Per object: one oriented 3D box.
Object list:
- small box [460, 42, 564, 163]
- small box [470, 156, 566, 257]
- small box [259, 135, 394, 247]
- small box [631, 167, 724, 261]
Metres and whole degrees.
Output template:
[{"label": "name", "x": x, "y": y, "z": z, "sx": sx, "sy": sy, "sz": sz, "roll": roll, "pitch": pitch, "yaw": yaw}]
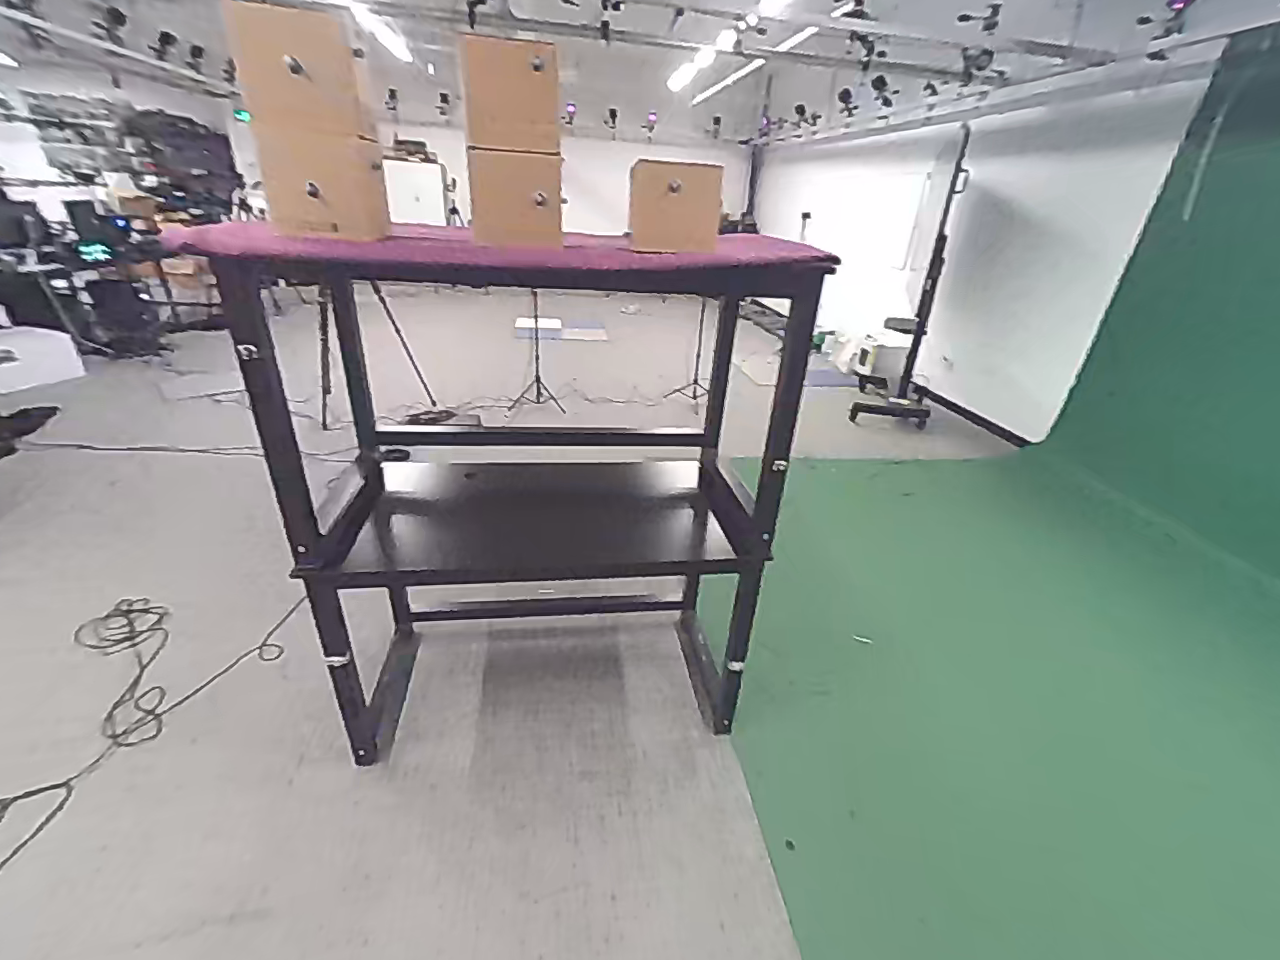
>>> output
[{"label": "small box", "x": -0.239, "y": -0.700, "z": 1.032, "sx": 0.179, "sy": 0.176, "sz": 0.168, "roll": -2, "pitch": 27, "yaw": -12}, {"label": "small box", "x": -0.242, "y": -0.553, "z": 1.104, "sx": 0.179, "sy": 0.176, "sz": 0.168, "roll": -2, "pitch": 27, "yaw": -10}, {"label": "small box", "x": -0.574, "y": -0.539, "z": 1.020, "sx": 0.168, "sy": 0.176, "sz": 0.179, "roll": -1, "pitch": 28, "yaw": -12}, {"label": "small box", "x": 0.072, "y": -0.572, "z": 1.177, "sx": 0.179, "sy": 0.176, "sz": 0.168, "roll": 0, "pitch": 25, "yaw": -8}]
